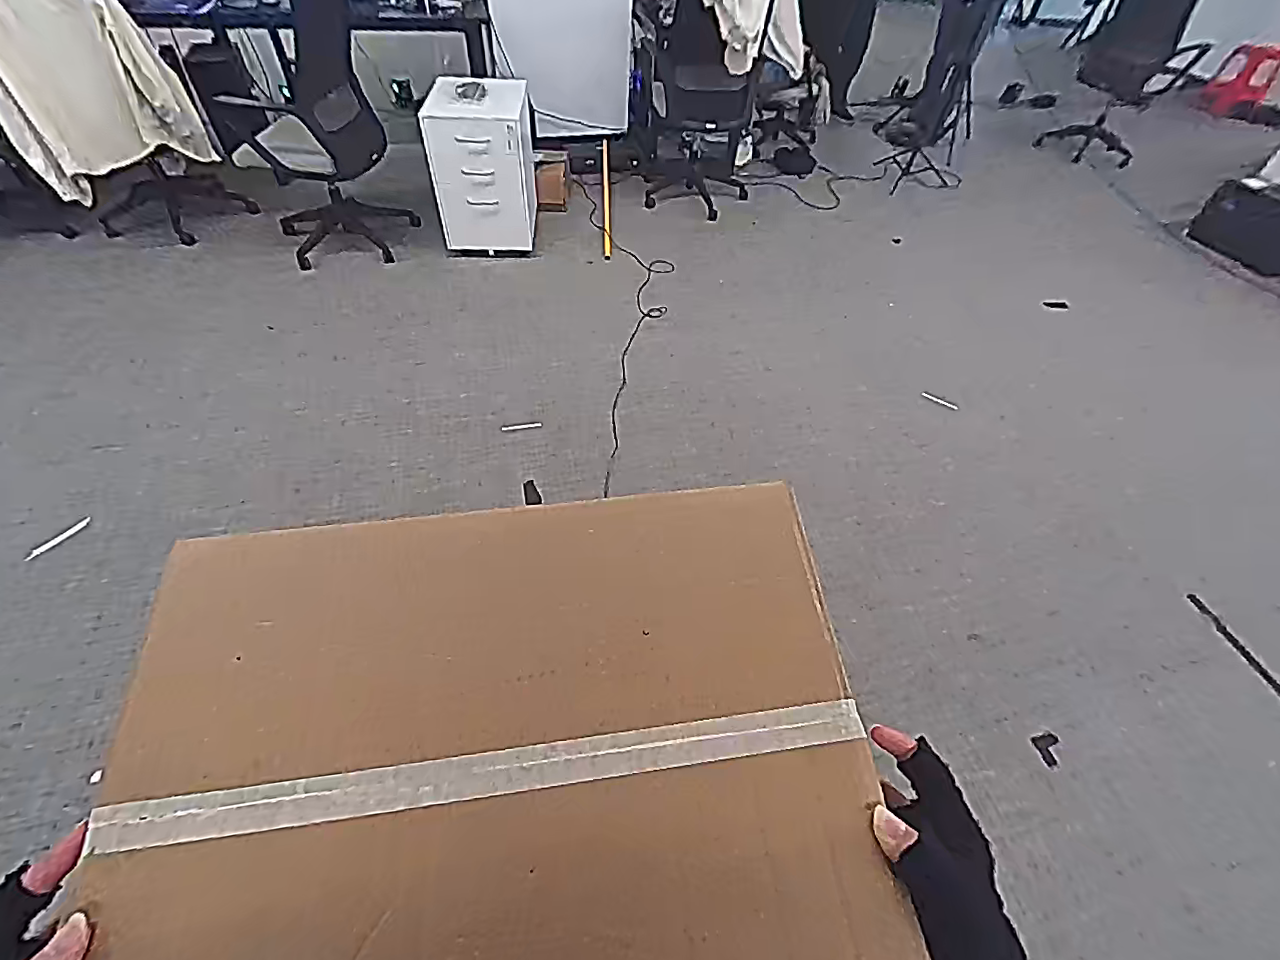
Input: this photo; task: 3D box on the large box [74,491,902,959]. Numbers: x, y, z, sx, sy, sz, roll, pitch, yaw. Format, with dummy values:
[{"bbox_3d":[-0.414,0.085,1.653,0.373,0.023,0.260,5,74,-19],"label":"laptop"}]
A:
[{"bbox_3d":[-0.084,0.231,0.436,0.408,0.320,0.320,-5,61,-5],"label":"large box"}]
